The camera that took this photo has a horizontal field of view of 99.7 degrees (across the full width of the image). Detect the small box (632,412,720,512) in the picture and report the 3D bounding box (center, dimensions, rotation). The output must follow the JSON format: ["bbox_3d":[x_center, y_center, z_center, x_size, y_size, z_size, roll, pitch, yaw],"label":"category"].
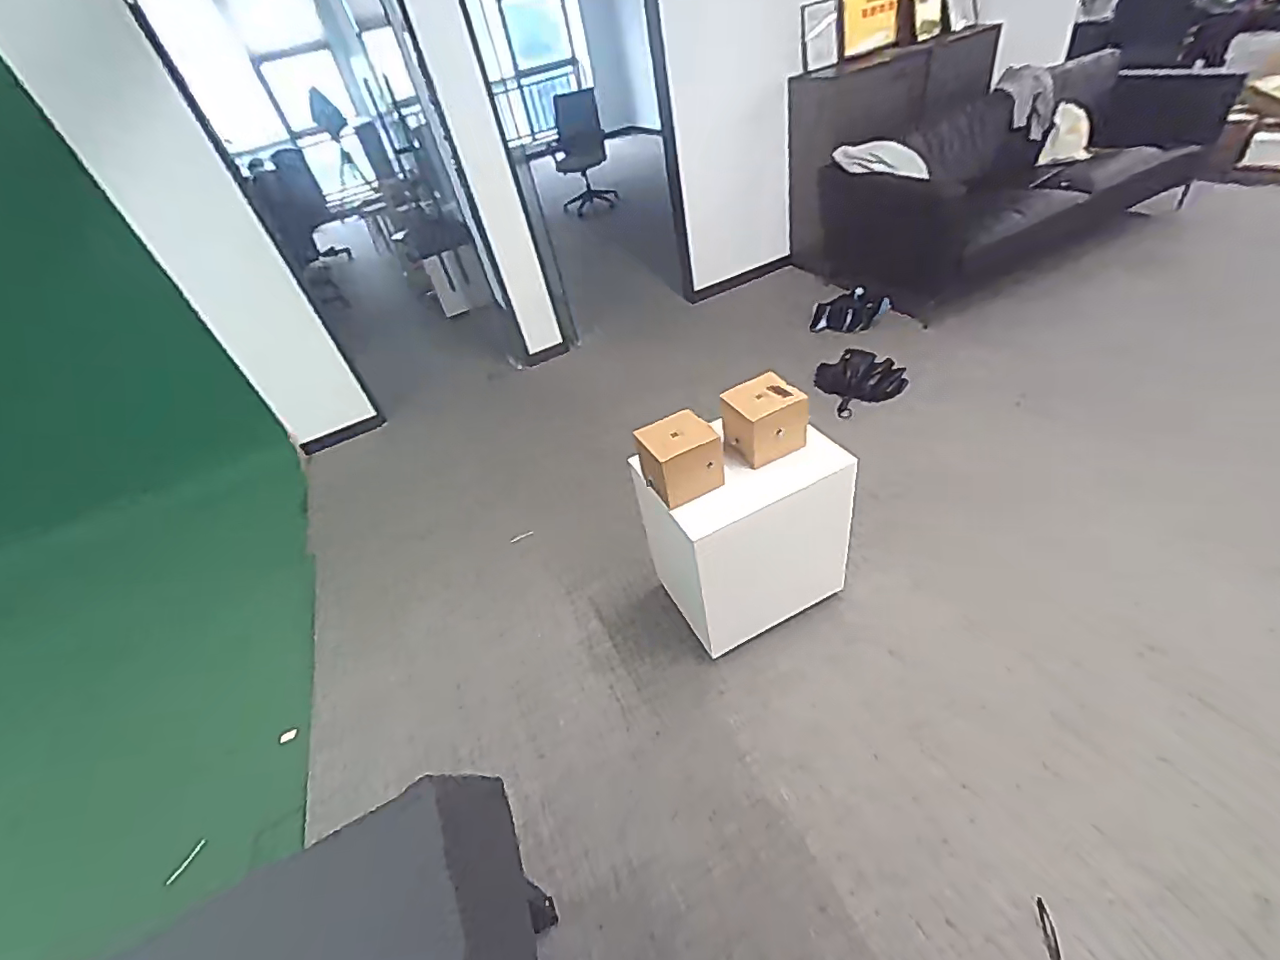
[{"bbox_3d":[0.099,-0.048,1.432,0.179,0.176,0.168,-24,40,-16],"label":"small box"}]

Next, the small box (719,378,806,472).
[{"bbox_3d":[0.335,-0.151,1.496,0.179,0.176,0.168,-24,41,-13],"label":"small box"}]
